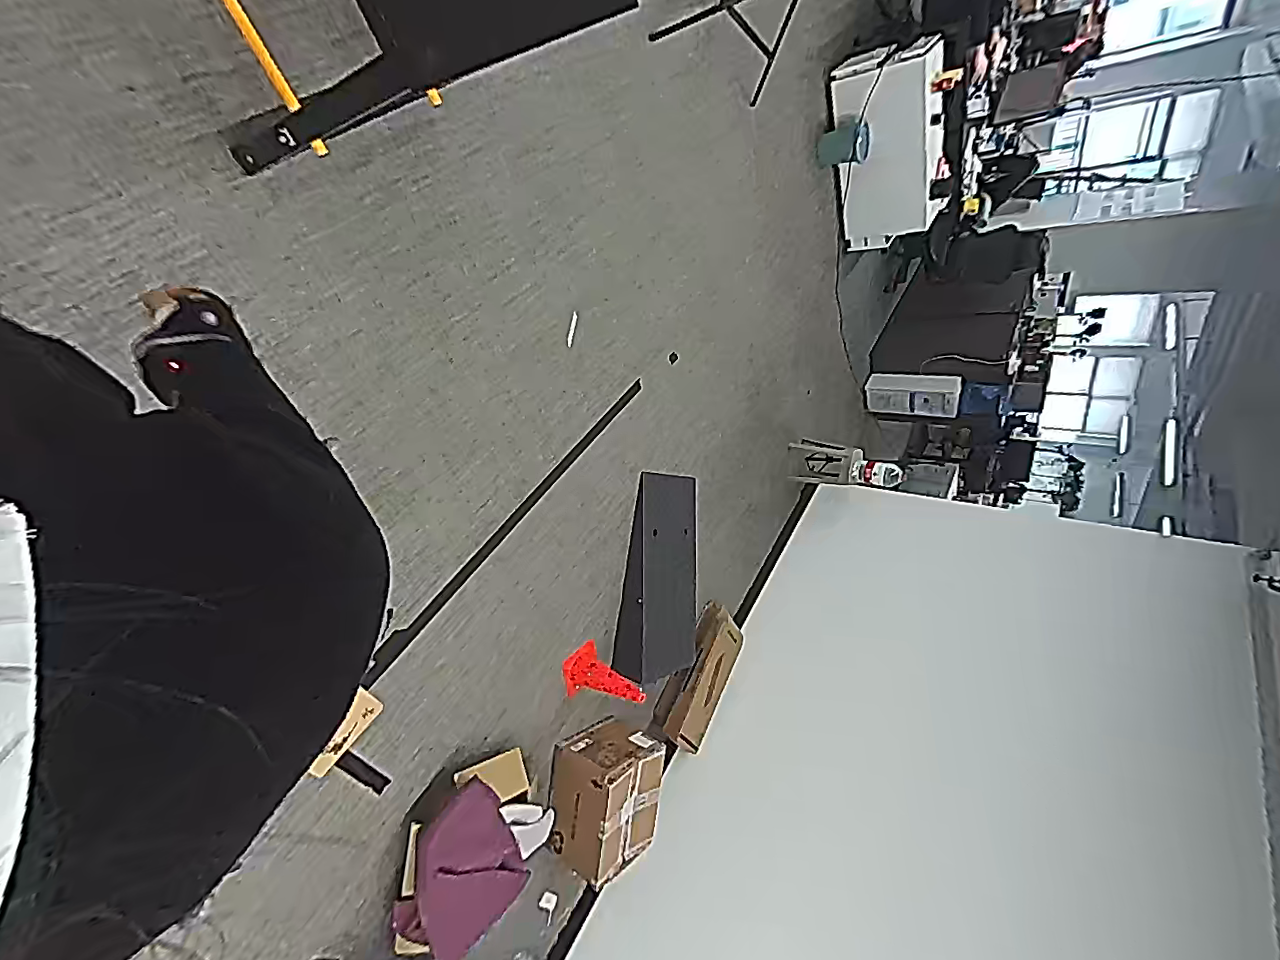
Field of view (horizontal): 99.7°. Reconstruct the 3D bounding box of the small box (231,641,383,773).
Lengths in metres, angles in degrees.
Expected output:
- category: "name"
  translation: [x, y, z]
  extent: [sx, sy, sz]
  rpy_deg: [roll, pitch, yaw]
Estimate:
- category: "small box"
  translation: [-0.680, 0.452, 1.106]
  extent: [0.168, 0.176, 0.179]
  rpy_deg: [-51, 135, -33]
